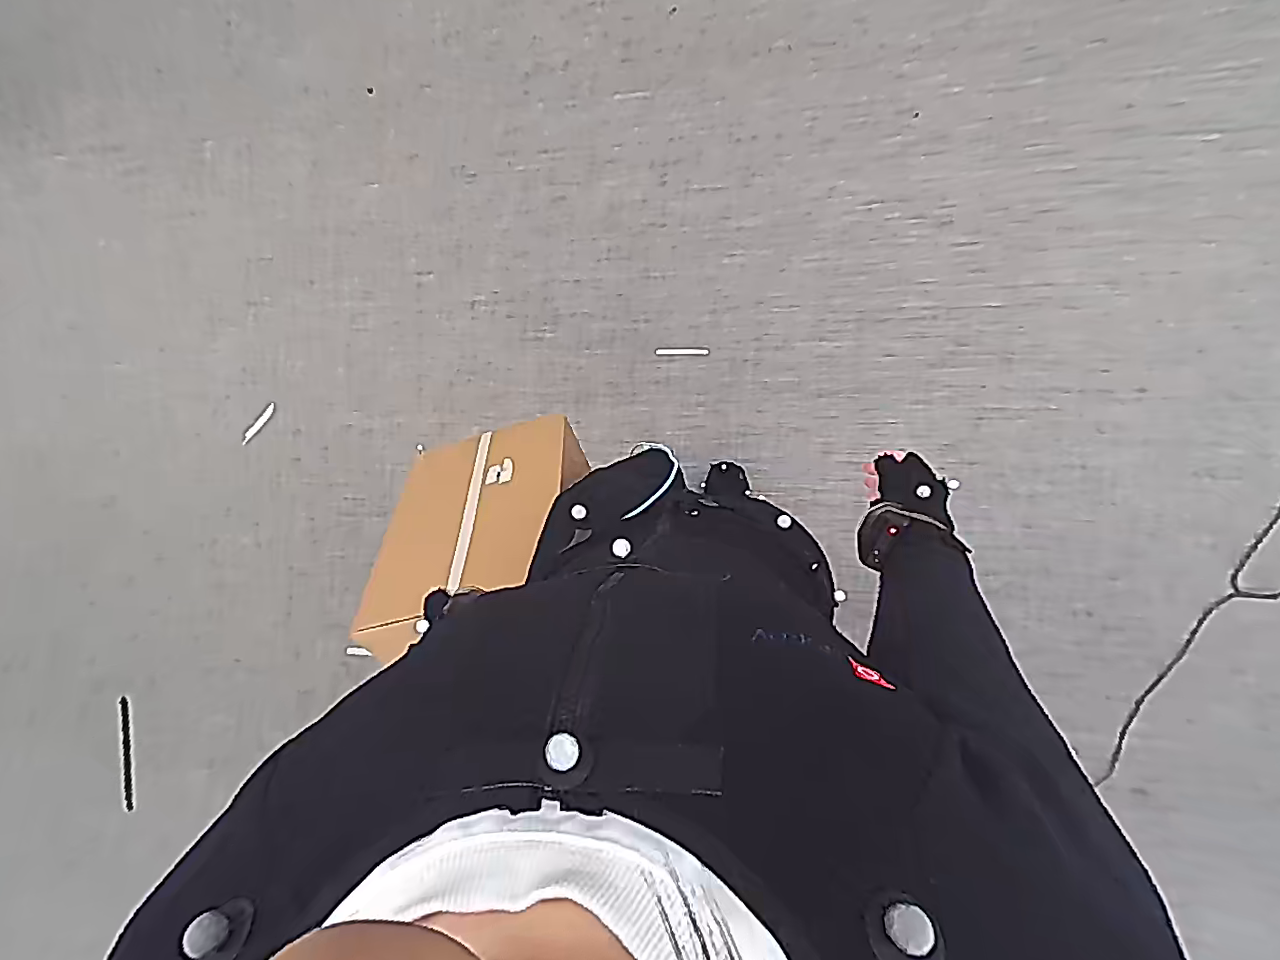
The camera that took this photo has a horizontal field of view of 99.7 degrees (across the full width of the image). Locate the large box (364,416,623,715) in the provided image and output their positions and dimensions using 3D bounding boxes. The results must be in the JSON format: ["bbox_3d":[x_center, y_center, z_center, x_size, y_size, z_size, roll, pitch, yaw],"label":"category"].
[{"bbox_3d":[-0.228,0.151,0.997,0.320,0.408,0.320,-13,131,7],"label":"large box"}]
